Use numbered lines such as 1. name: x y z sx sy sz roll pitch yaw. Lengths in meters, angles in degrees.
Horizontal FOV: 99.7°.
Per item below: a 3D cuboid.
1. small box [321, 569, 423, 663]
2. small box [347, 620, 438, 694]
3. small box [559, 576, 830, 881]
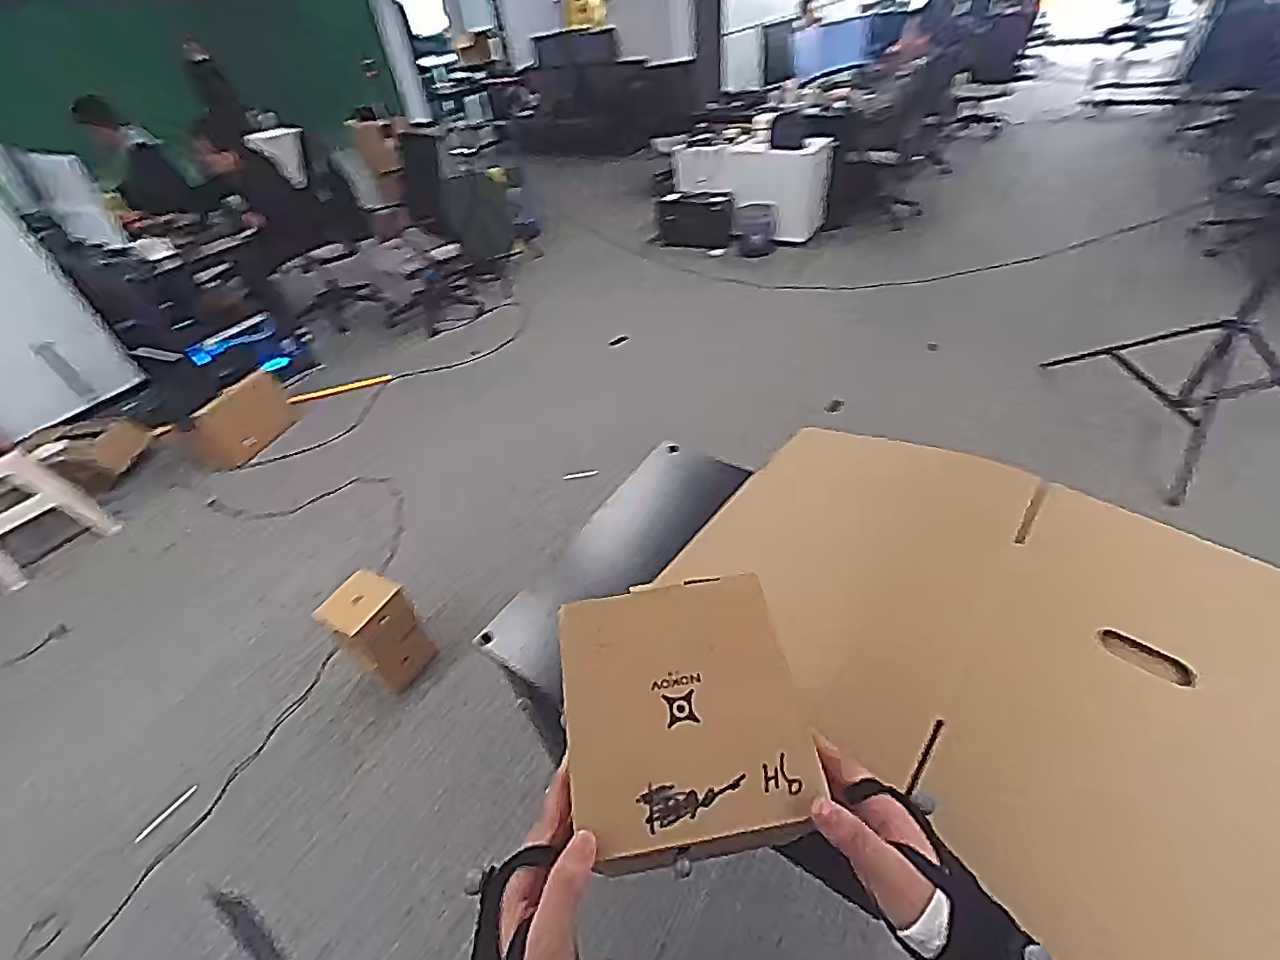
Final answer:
1. small box: -0.766 0.396 1.566 0.168 0.176 0.179 16 46 23
2. small box: -0.752 0.520 1.671 0.168 0.176 0.179 18 48 26
3. small box: 0.031 0.208 0.449 0.168 0.176 0.179 -10 51 -3
